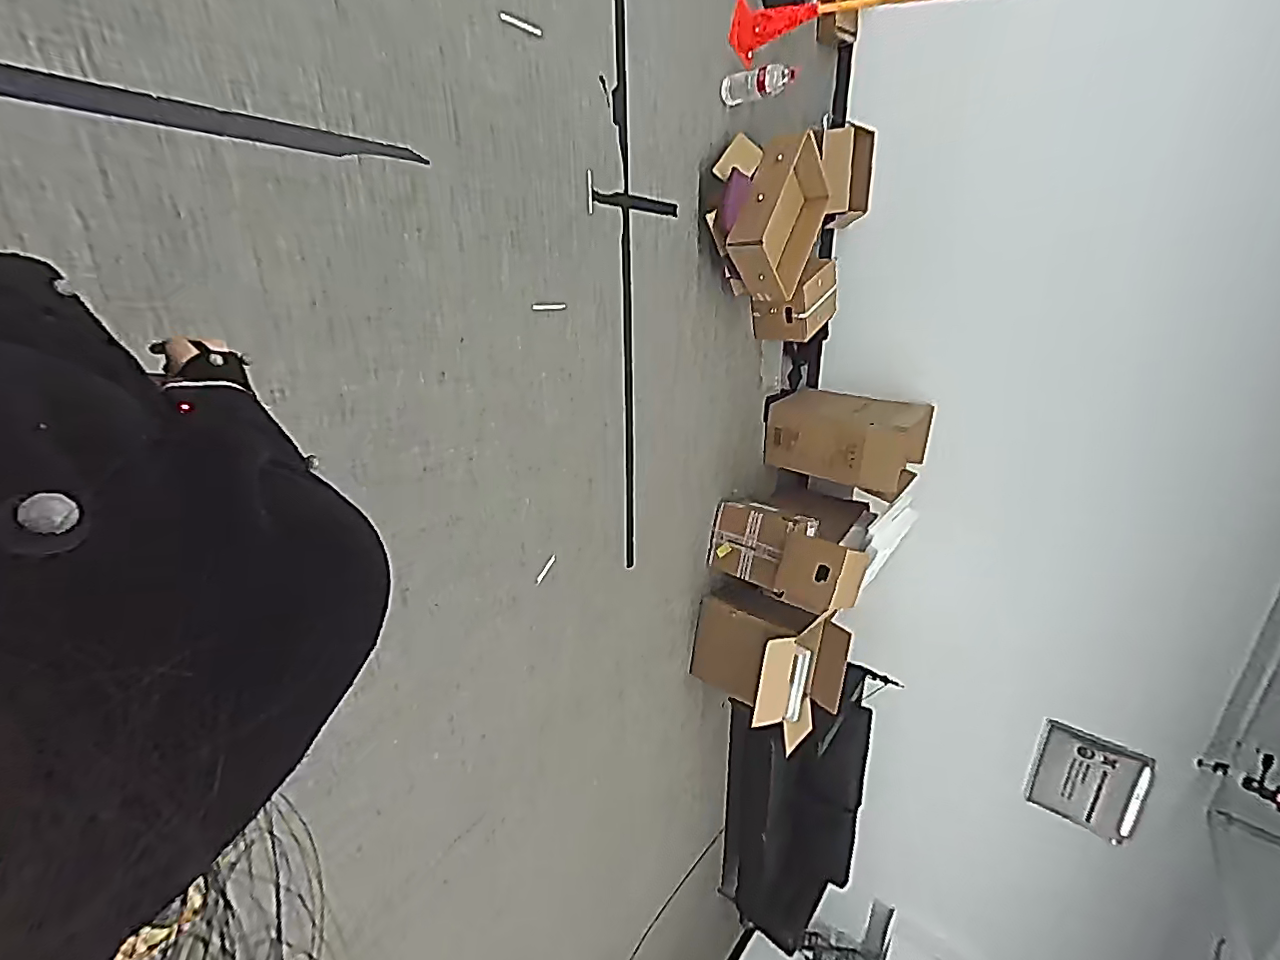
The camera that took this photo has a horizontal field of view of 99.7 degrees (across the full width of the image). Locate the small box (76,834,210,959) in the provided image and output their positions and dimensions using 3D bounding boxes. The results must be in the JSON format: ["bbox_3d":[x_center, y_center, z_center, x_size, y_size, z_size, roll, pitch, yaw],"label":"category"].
[{"bbox_3d":[-1.147,0.966,1.248,0.168,0.176,0.179,-31,125,-43],"label":"small box"}]
